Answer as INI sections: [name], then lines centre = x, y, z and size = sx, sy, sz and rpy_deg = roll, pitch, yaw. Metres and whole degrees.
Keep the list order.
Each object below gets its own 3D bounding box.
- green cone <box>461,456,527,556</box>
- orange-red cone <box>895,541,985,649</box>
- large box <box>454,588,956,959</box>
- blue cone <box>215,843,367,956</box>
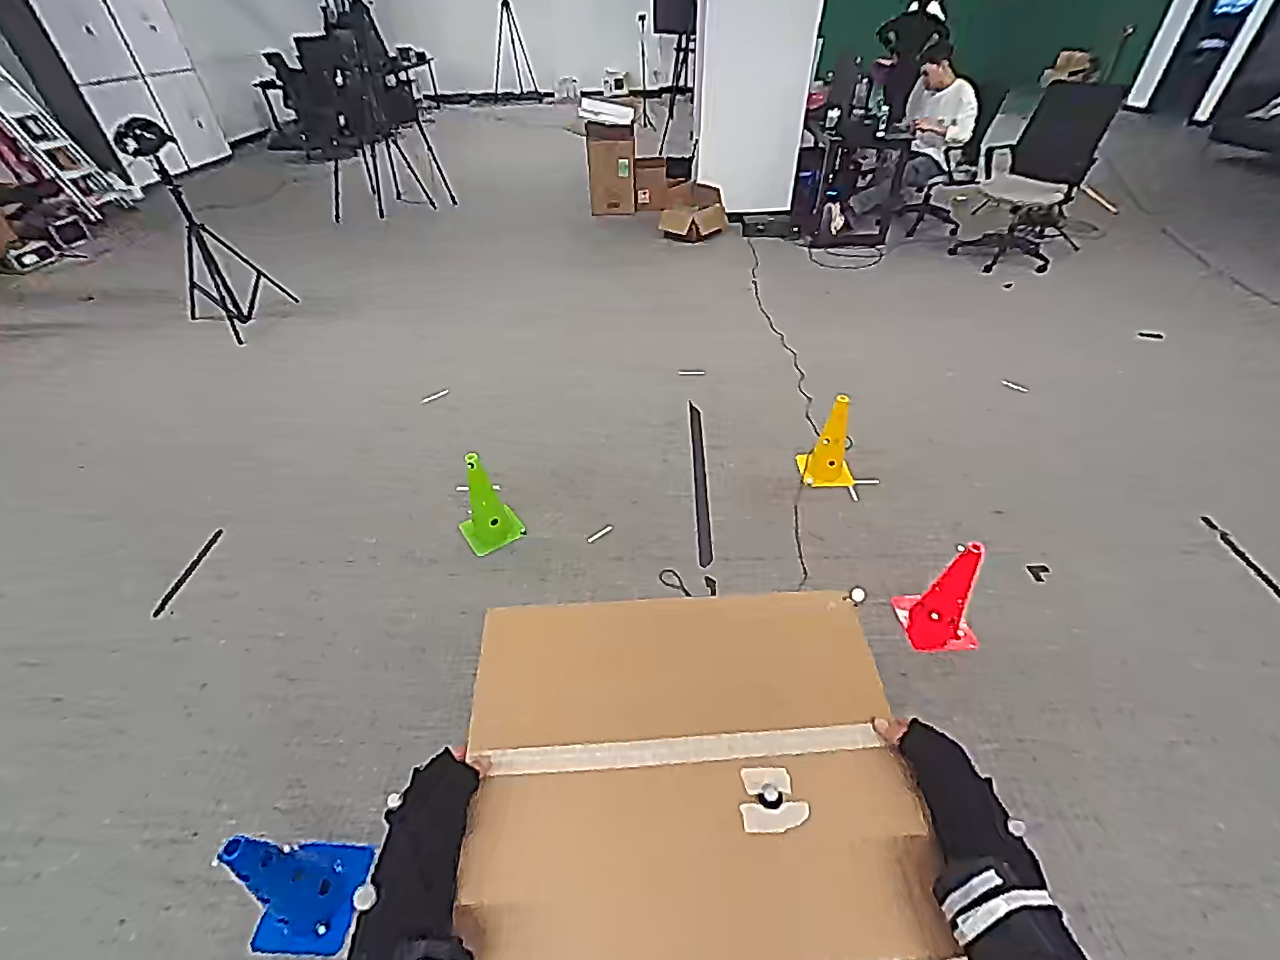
[green cone]
centre = -0.560, 0.059, 1.925
size = 0.202, 0.368, 0.200
rpy_deg = -28, 47, -24
[orange-red cone]
centre = 0.917, 0.310, 1.579
size = 0.198, 0.360, 0.199
rpy_deg = -2, 40, -1
[large box]
centre = 0.039, 0.346, 0.622
size = 0.408, 0.320, 0.320
rpy_deg = -2, 49, -4
[blue cone]
centre = -0.732, 0.816, 1.101
size = 0.192, 0.380, 0.193
rpy_deg = 1, 41, 5
